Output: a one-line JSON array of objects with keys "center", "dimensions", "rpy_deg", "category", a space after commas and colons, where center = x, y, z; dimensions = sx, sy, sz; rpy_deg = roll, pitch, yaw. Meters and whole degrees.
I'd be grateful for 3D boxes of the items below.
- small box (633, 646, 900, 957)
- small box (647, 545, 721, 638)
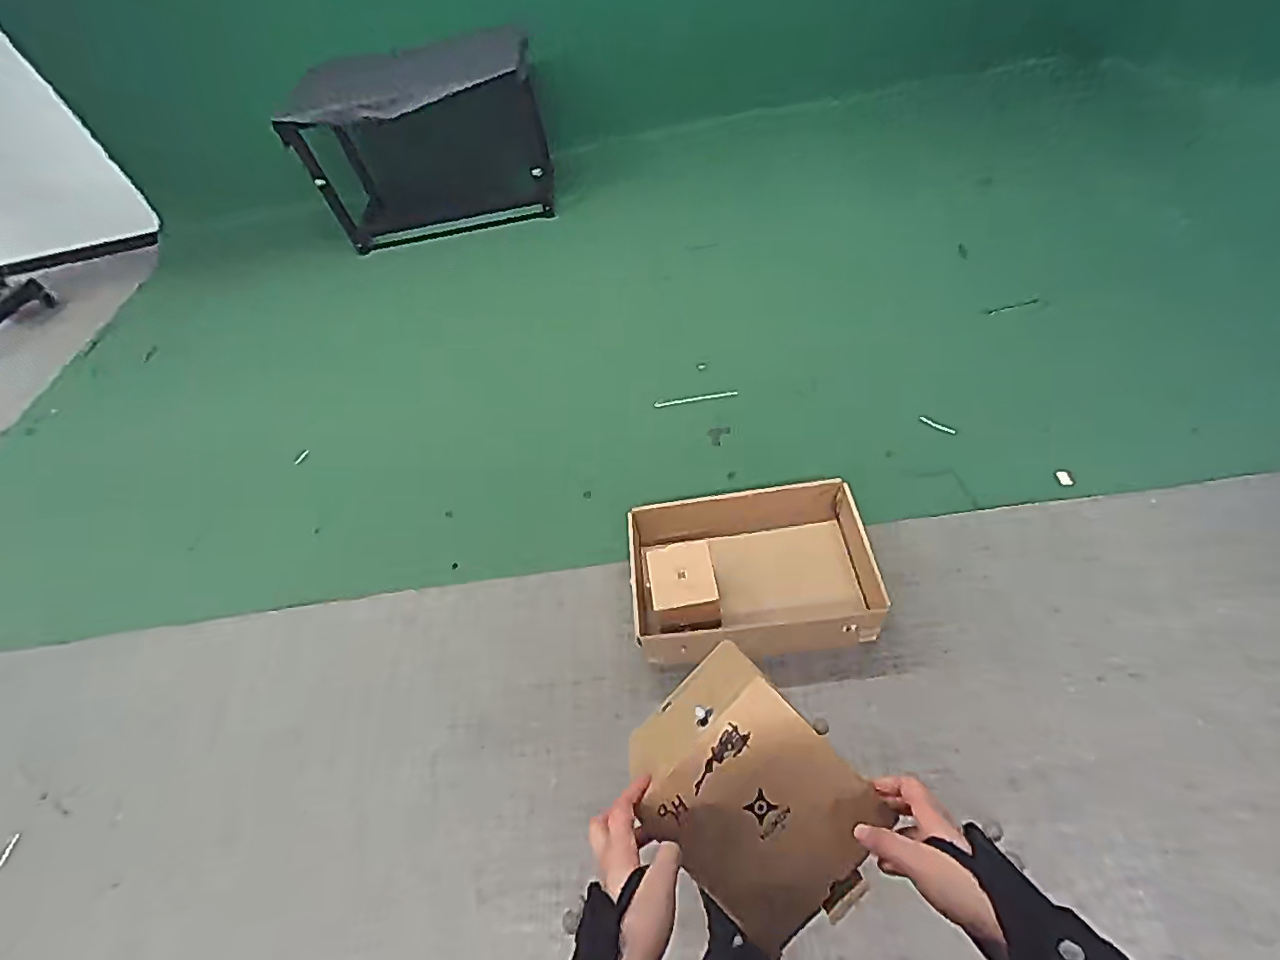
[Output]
[{"center": [0.110, 0.297, 0.547], "dimensions": [0.168, 0.176, 0.179], "rpy_deg": [-44, 88, -4], "category": "small box"}, {"center": [0.117, 0.297, 1.432], "dimensions": [0.168, 0.176, 0.179], "rpy_deg": [-11, 53, 3], "category": "small box"}]
